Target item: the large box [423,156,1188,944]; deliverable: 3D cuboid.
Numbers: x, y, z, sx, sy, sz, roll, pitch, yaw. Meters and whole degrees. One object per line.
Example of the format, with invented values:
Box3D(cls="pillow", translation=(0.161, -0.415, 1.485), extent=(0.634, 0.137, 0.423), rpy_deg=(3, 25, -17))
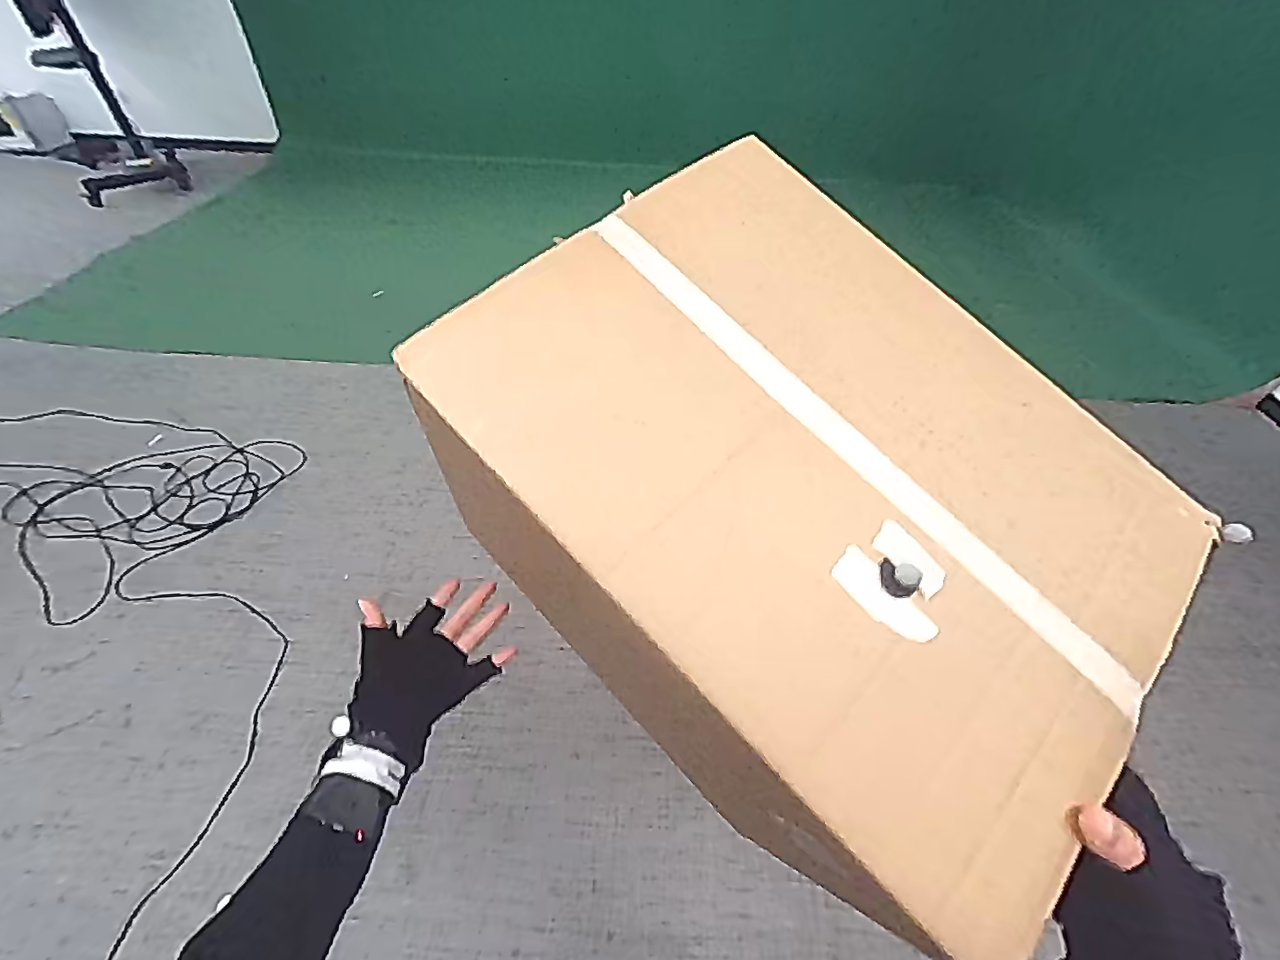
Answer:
Box3D(cls="large box", translation=(0.092, 0.034, 0.459), extent=(0.320, 0.320, 0.408), rpy_deg=(-41, 81, -22))
